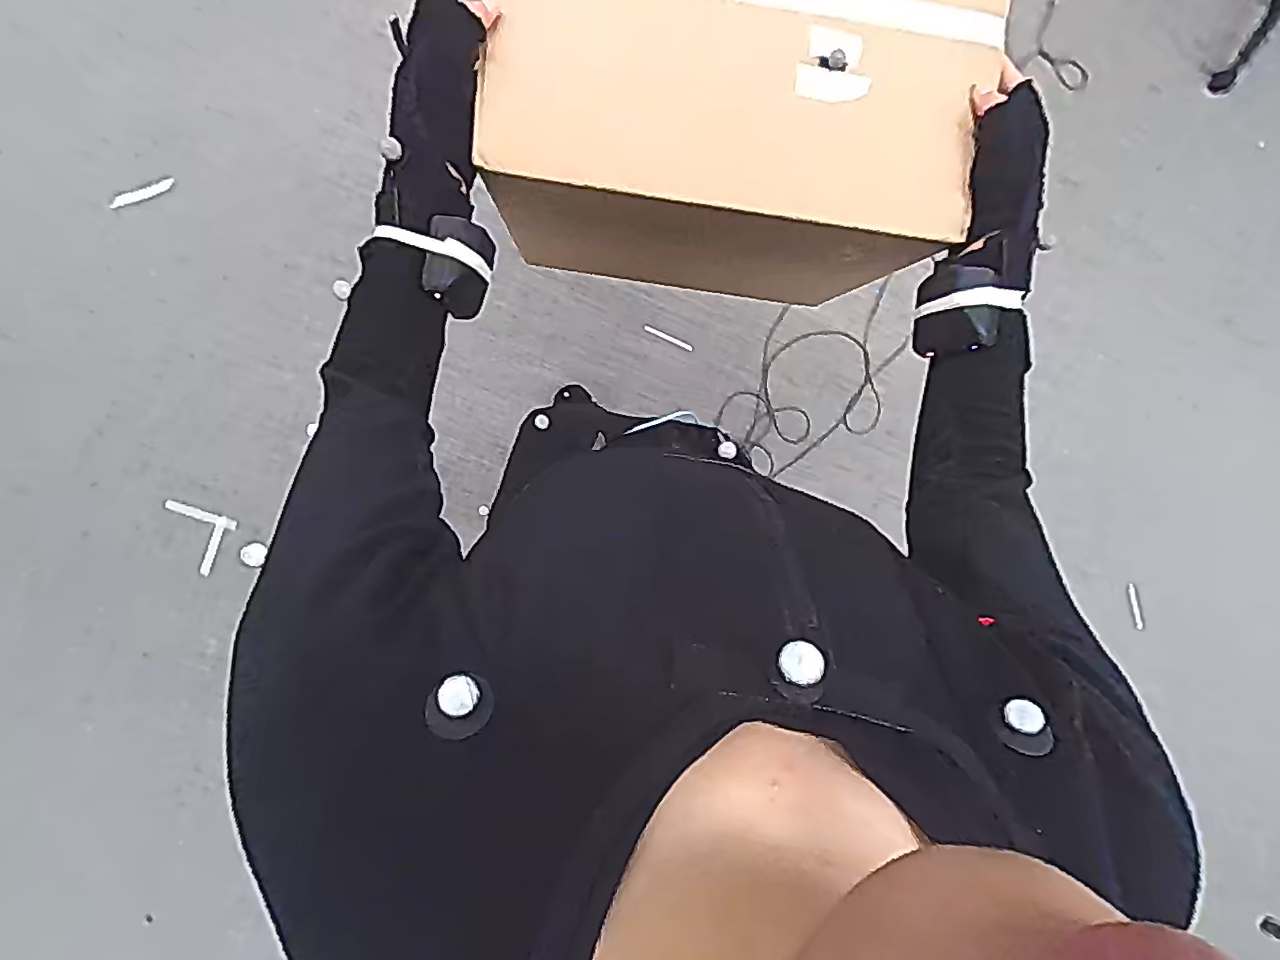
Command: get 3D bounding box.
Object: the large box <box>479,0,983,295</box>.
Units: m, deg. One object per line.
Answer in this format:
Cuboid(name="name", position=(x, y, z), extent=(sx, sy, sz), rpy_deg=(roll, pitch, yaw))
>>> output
Cuboid(name="large box", position=(0.066, -0.402, 0.573), extent=(0.408, 0.320, 0.320), rpy_deg=(5, 99, -6))
